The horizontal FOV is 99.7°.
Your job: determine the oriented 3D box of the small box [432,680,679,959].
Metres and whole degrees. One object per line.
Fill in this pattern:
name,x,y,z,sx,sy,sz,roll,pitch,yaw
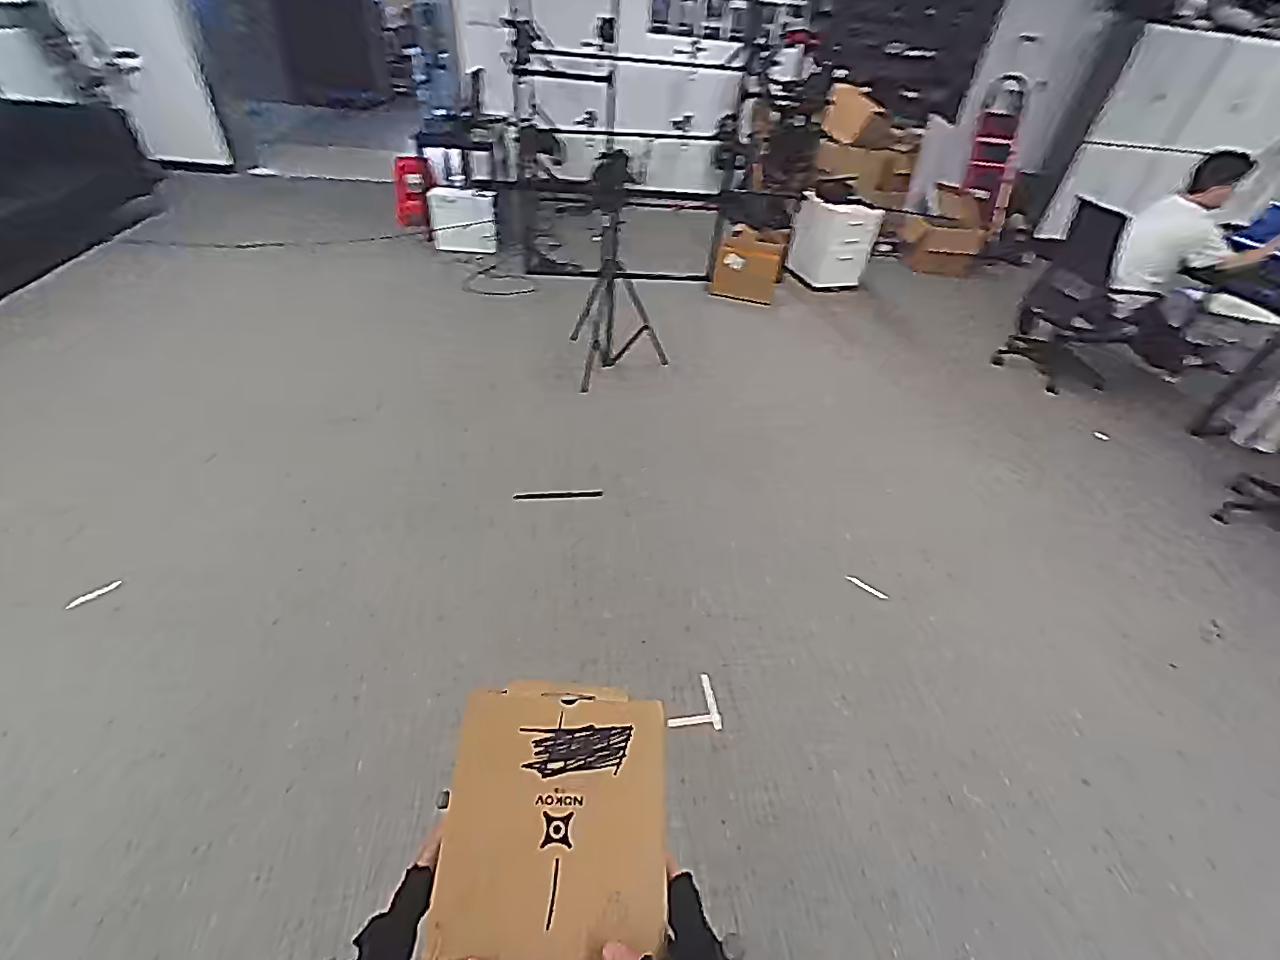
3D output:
small box,-0.069,0.289,0.464,0.168,0.176,0.179,8,54,-9
